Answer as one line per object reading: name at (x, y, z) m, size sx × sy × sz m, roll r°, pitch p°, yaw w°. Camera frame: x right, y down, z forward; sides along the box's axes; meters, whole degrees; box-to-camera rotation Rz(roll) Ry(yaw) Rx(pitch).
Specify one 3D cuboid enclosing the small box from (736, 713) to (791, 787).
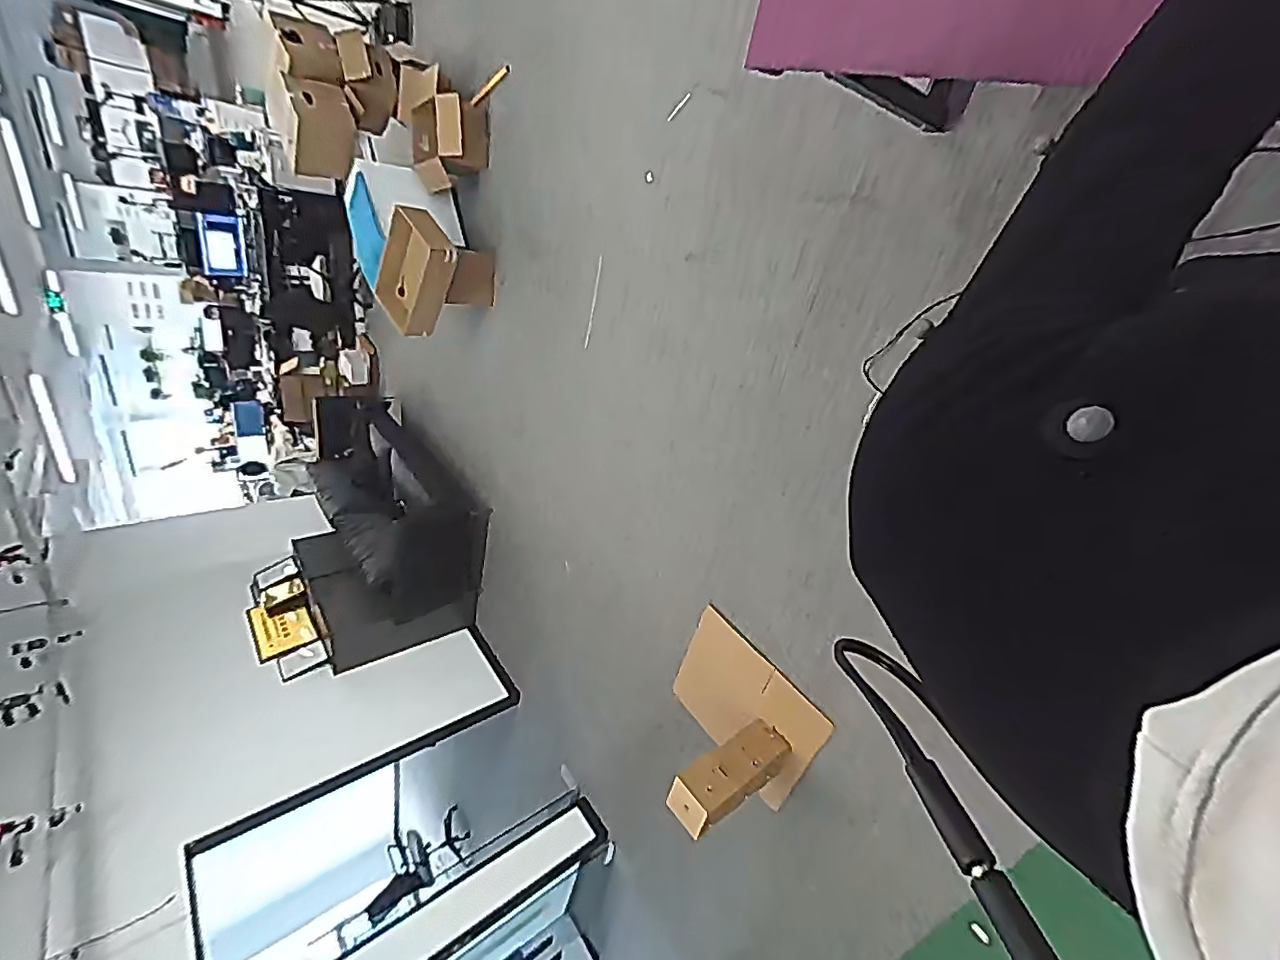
small box at (0.491, 1.102, 2.214) m, size 0.168 × 0.176 × 0.179 m, roll 33°, pitch 124°, yaw 41°

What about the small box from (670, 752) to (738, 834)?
small box at (0.241, 1.157, 2.013) m, size 0.168 × 0.176 × 0.179 m, roll 37°, pitch 127°, yaw 38°

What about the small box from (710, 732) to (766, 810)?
small box at (0.367, 1.131, 2.111) m, size 0.168 × 0.176 × 0.179 m, roll 37°, pitch 127°, yaw 39°
